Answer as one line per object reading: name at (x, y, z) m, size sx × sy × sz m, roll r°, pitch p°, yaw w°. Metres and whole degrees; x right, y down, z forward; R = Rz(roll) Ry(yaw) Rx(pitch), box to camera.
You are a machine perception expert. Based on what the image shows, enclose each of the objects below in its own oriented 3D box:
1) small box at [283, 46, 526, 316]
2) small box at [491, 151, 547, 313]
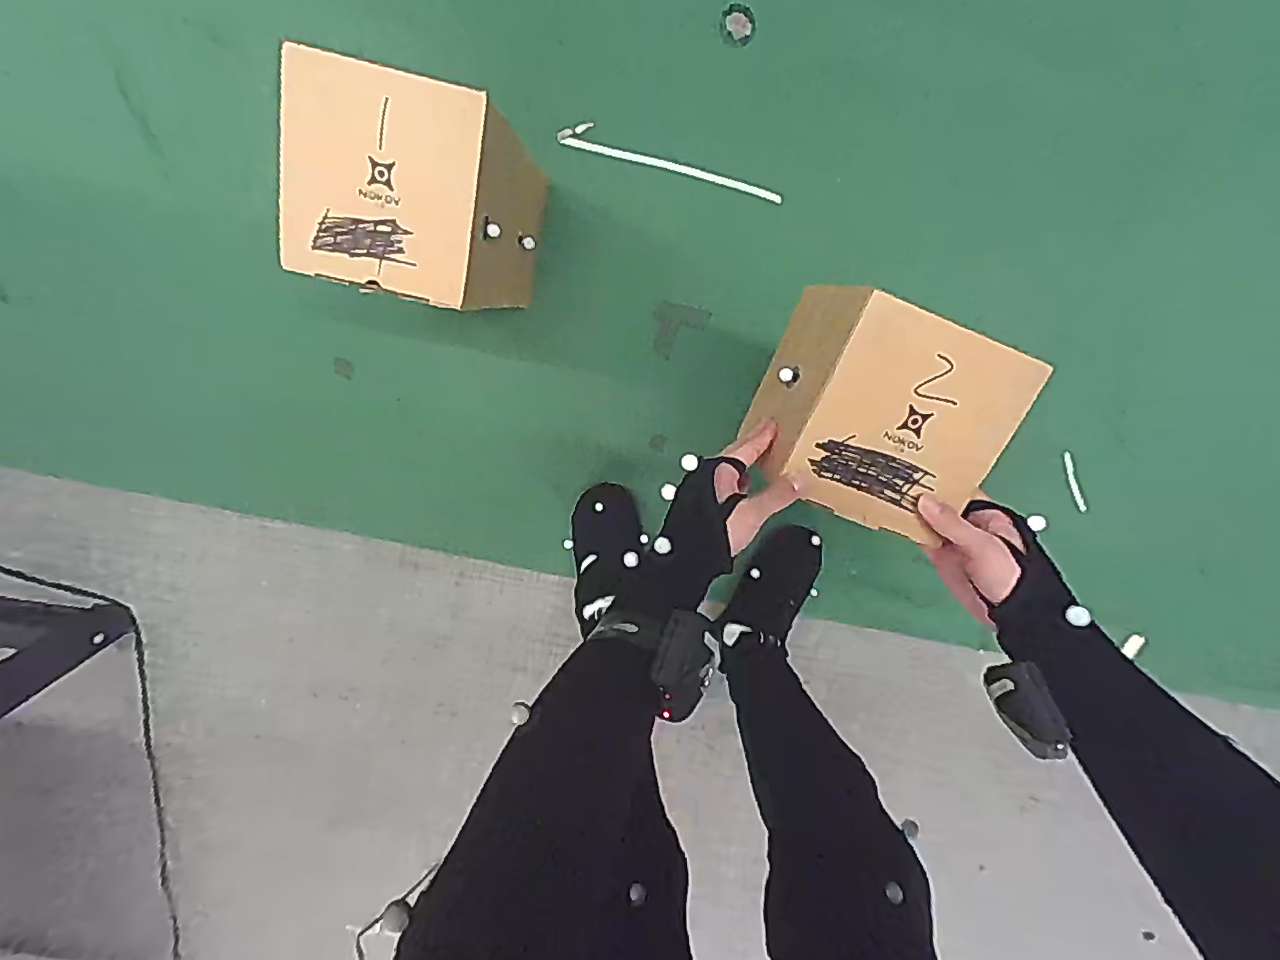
small box at (-0.218, -0.272, 0.536) m, size 0.168 × 0.176 × 0.179 m, roll 12°, pitch 107°, yaw -5°
small box at (-0.220, -0.322, 0.692) m, size 0.168 × 0.176 × 0.179 m, roll 12°, pitch 108°, yaw -4°
